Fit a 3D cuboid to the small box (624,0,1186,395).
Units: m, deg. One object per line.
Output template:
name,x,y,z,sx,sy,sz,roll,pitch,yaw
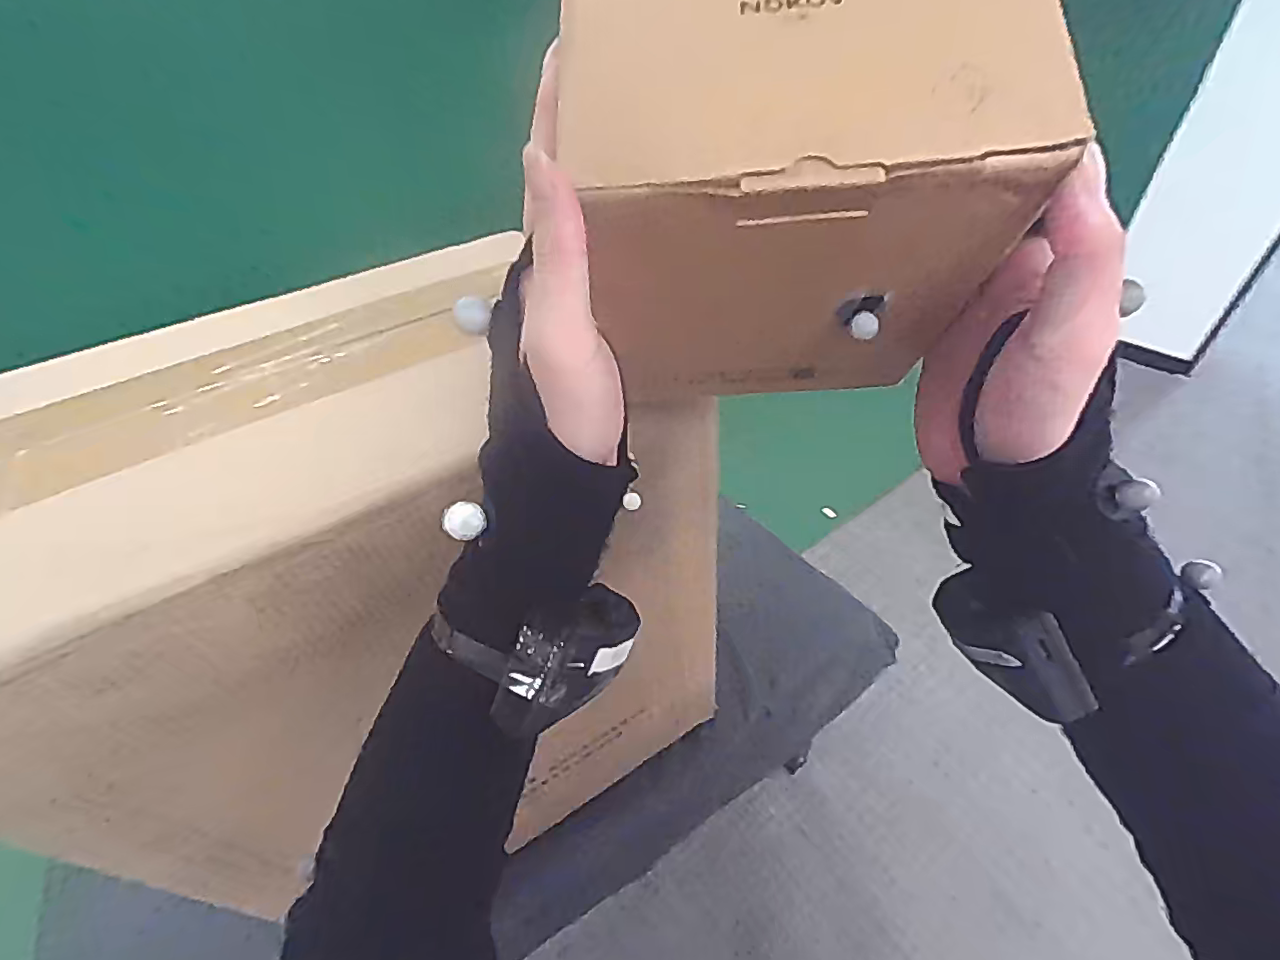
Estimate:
small box,0.084,-0.149,0.261,0.168,0.176,0.179,-1,74,4
